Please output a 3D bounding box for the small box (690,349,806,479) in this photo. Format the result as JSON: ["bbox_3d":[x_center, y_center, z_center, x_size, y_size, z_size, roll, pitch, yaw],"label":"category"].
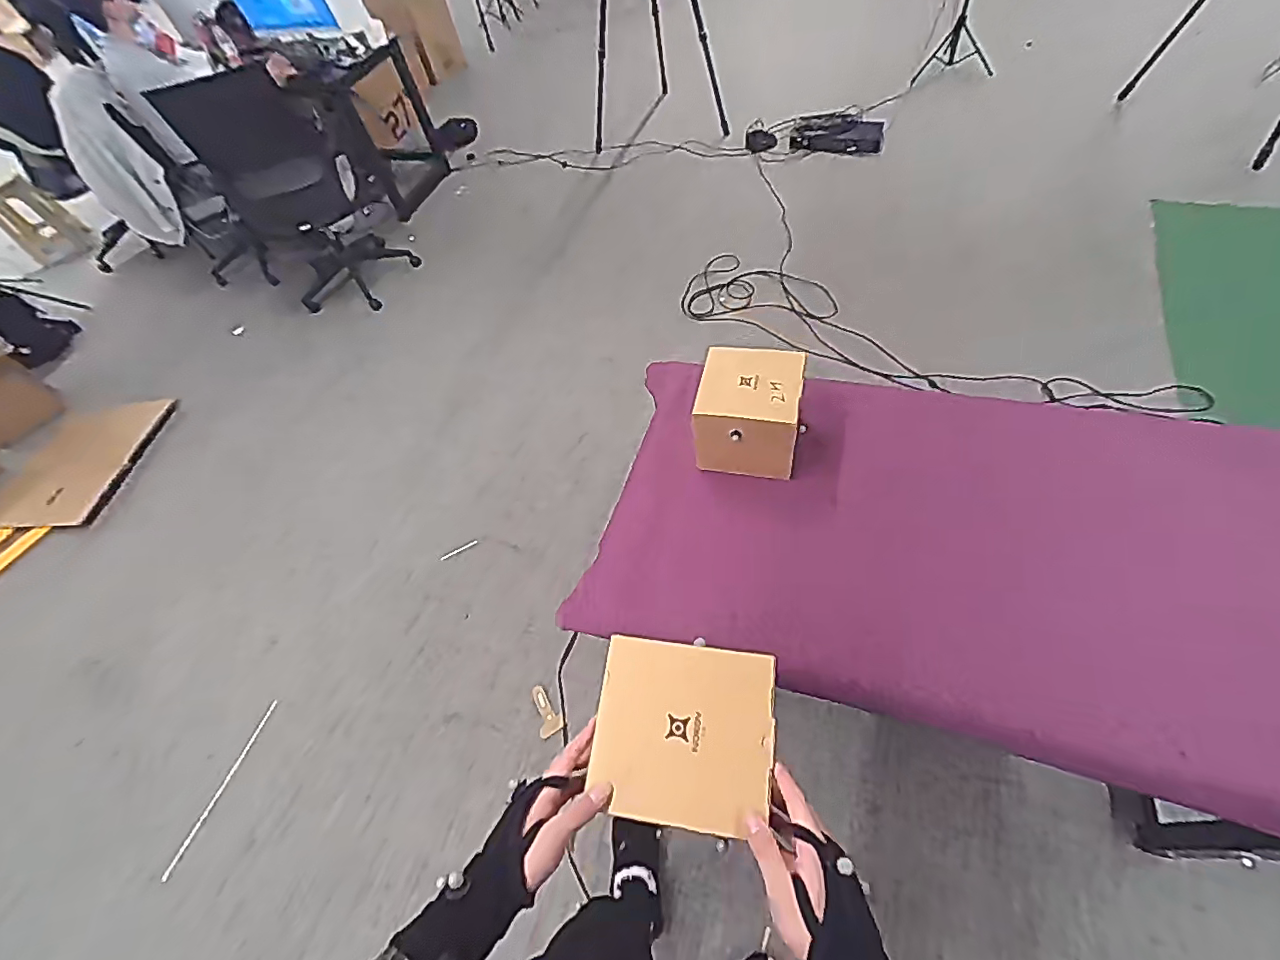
[{"bbox_3d":[0.200,-0.118,0.994,0.179,0.176,0.168,8,58,16],"label":"small box"}]

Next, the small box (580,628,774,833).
[{"bbox_3d":[0.048,0.277,0.599,0.179,0.176,0.168,5,61,9],"label":"small box"}]
